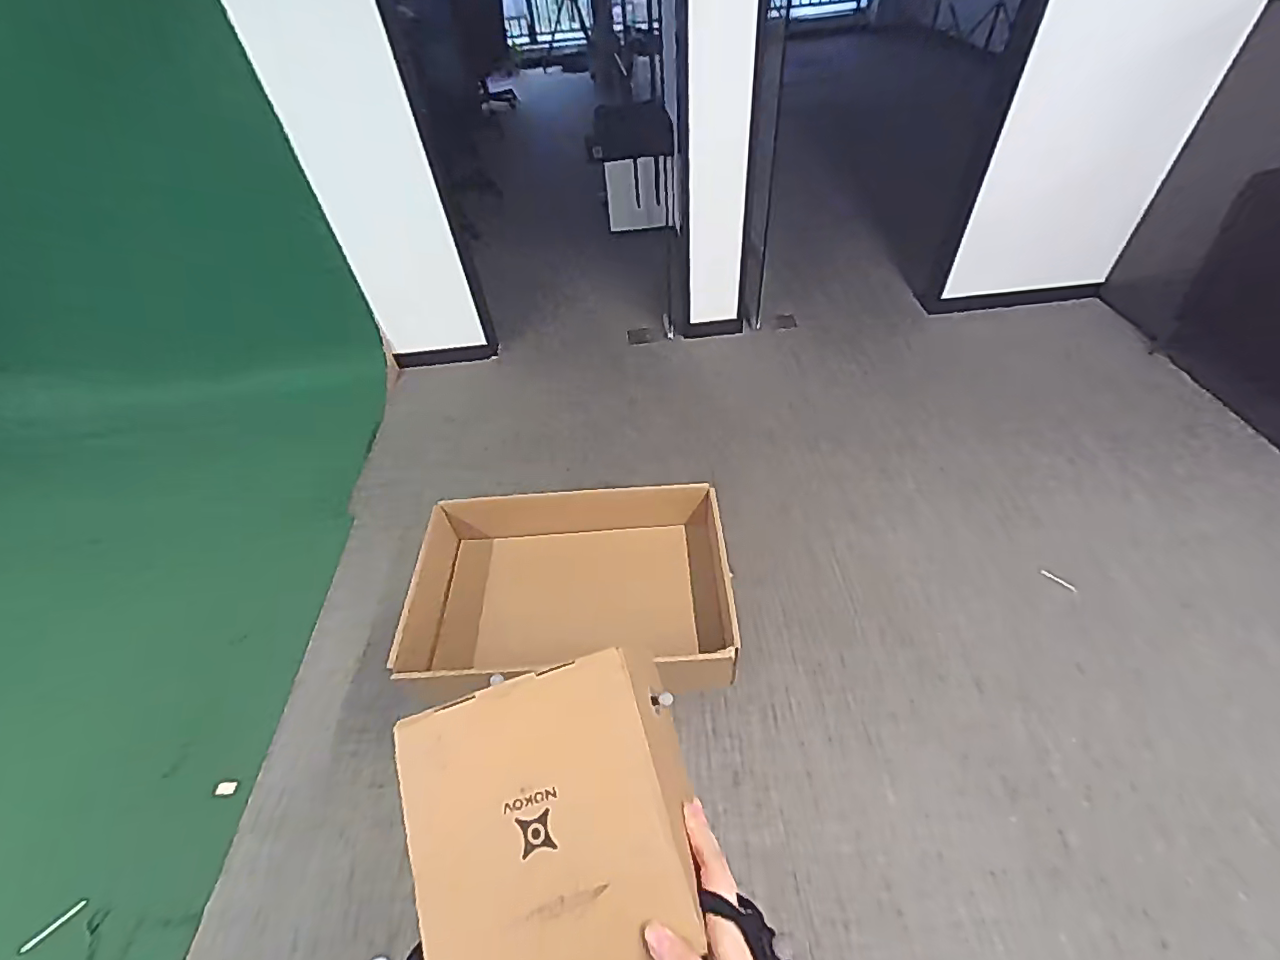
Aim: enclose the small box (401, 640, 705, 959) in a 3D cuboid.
[{"bbox_3d":[-0.055,0.237,0.415,0.168,0.176,0.179,-19,69,3],"label":"small box"}]
